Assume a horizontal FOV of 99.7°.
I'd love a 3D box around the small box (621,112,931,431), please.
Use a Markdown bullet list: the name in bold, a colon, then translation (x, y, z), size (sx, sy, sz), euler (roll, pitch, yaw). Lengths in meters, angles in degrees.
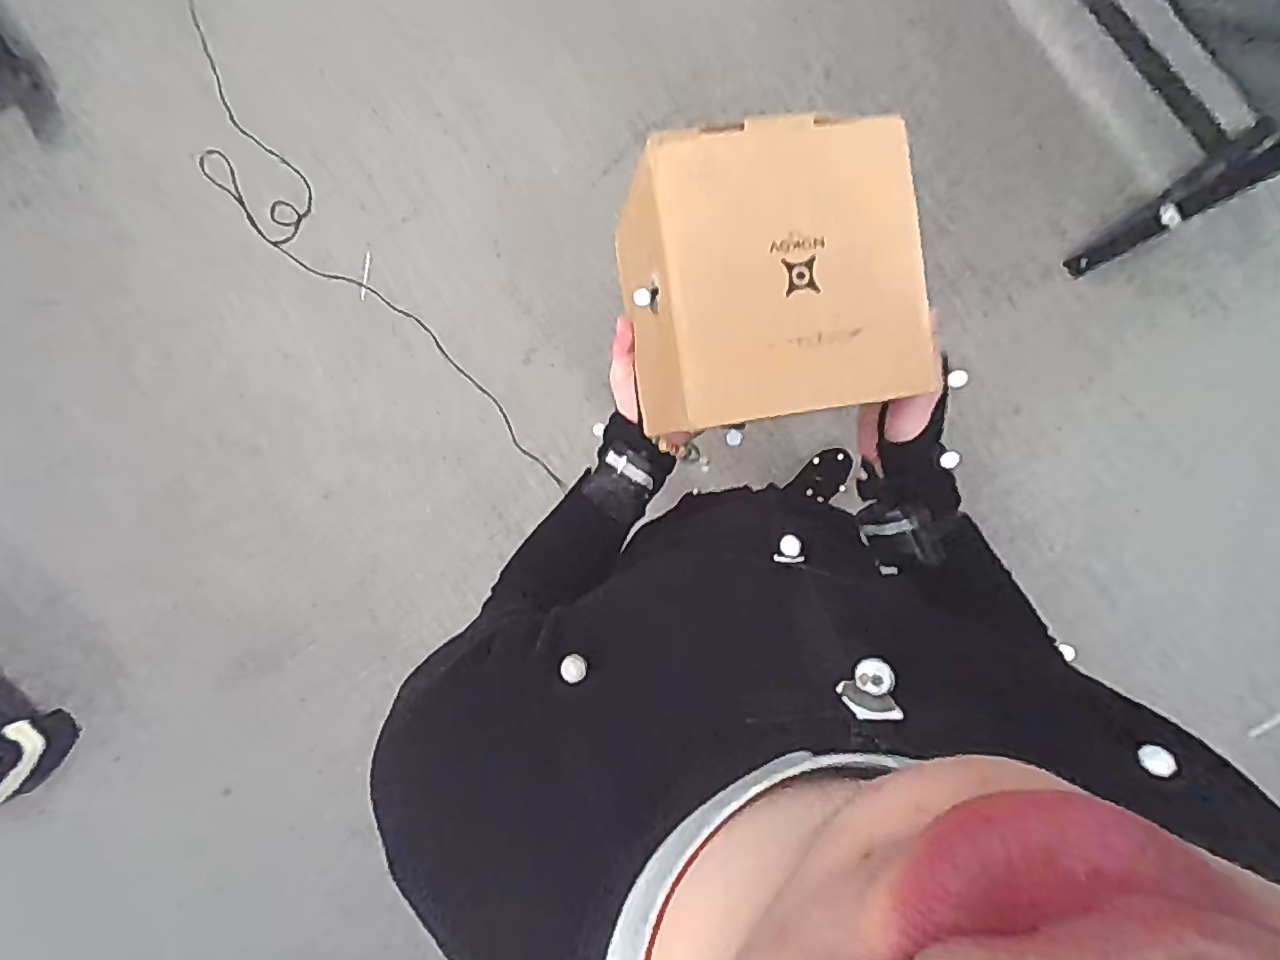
- **small box**: translation (0.085, -0.138, 0.414), size (0.168, 0.176, 0.179), euler (-10, 95, -8)
